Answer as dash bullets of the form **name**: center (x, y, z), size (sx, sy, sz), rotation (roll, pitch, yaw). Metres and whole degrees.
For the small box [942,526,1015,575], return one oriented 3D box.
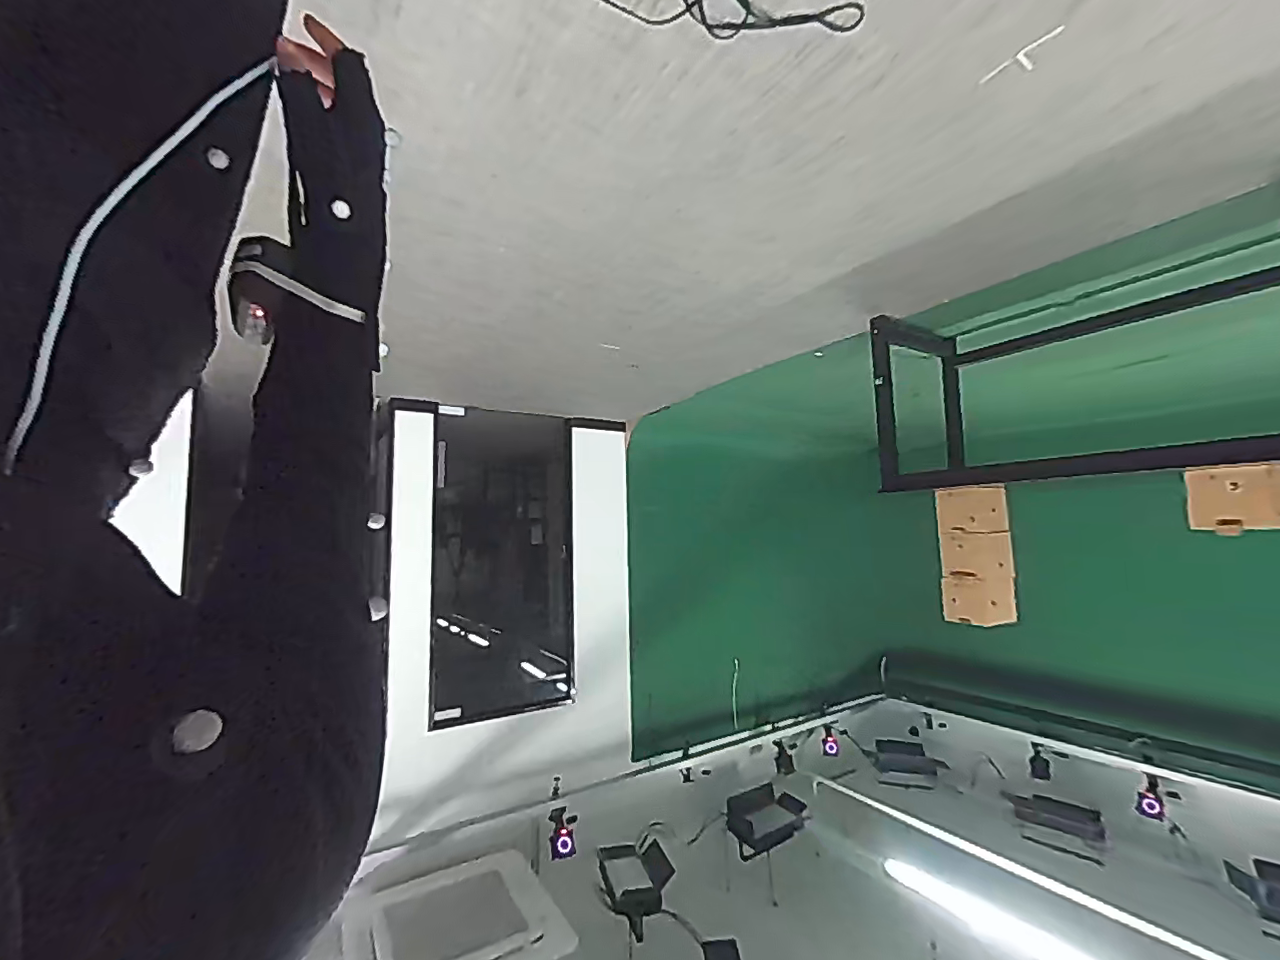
- **small box**: center (1.271, 0.262, 2.036), size (0.179, 0.176, 0.168), rotation (0, 173, -25)

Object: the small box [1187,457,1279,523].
- **small box**: center (1.642, 0.029, 1.473), size (0.179, 0.176, 0.168), rotation (2, 174, -24)

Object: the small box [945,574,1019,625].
- **small box**: center (1.275, 0.441, 2.025), size (0.179, 0.176, 0.168), rotation (-1, 175, -25)
